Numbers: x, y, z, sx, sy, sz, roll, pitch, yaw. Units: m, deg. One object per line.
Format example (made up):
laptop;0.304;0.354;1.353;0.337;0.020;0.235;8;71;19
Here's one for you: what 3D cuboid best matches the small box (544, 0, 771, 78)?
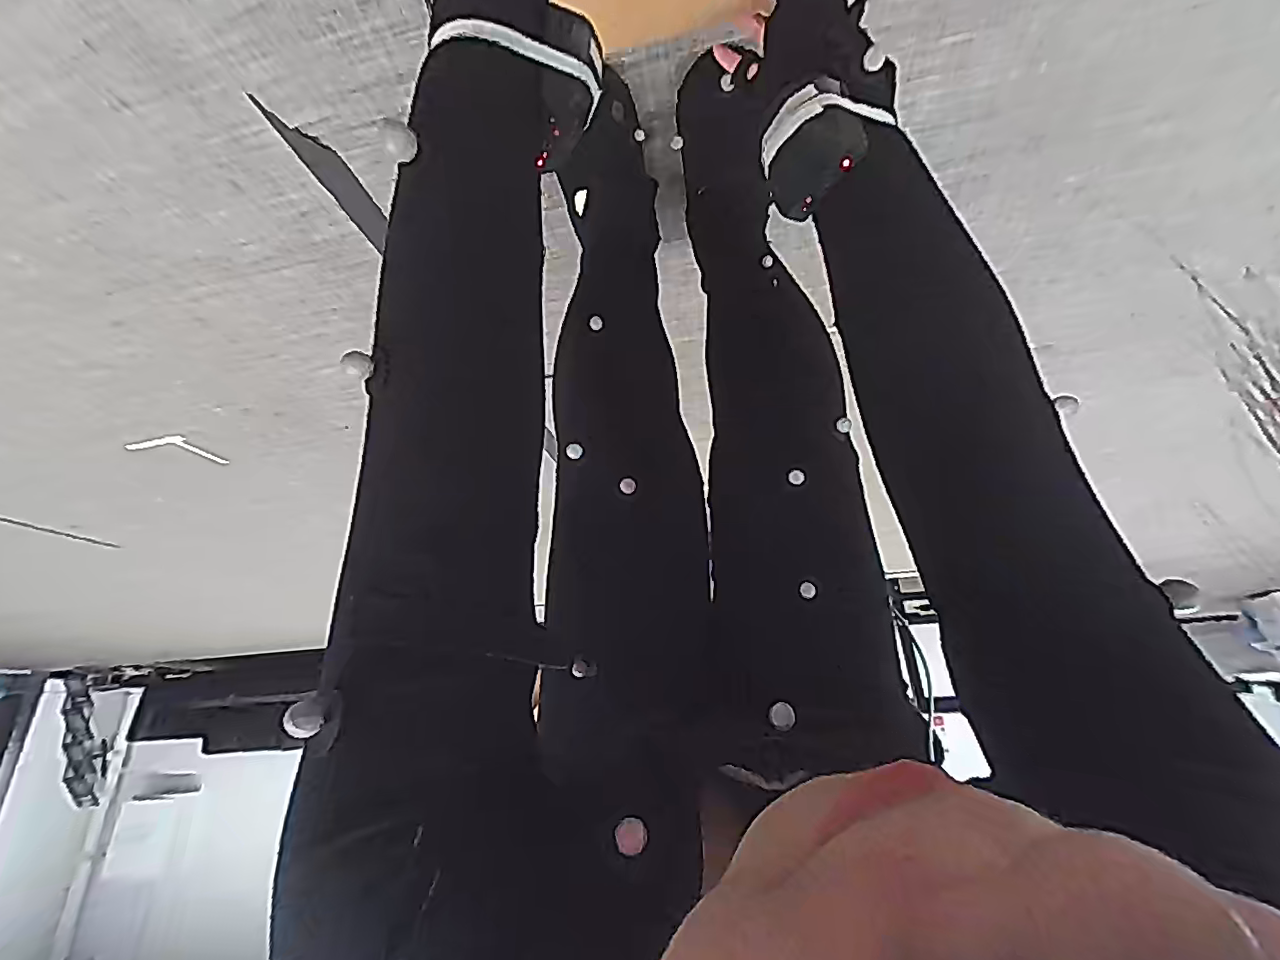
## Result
small box;0.000;-0.442;0.378;0.168;0.176;0.179;-6;159;11
